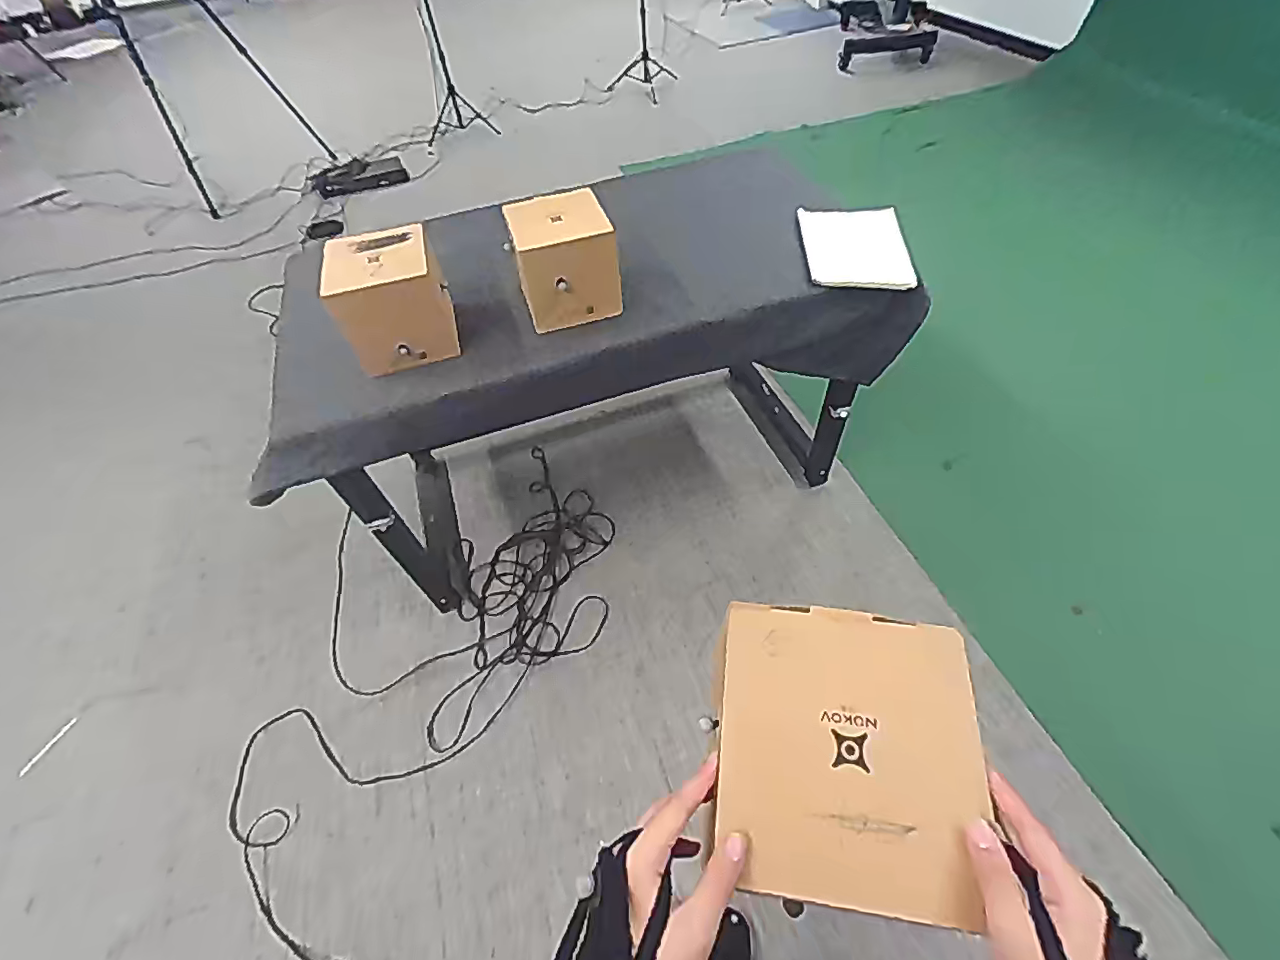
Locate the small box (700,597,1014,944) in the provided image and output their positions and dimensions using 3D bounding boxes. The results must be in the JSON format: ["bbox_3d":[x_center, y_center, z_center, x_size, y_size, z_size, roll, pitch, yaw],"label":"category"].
[{"bbox_3d":[0.136,0.209,0.409,0.168,0.176,0.179,5,59,7],"label":"small box"}]

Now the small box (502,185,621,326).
[{"bbox_3d":[-0.139,-0.402,0.986,0.168,0.176,0.179,-17,52,-7],"label":"small box"}]
